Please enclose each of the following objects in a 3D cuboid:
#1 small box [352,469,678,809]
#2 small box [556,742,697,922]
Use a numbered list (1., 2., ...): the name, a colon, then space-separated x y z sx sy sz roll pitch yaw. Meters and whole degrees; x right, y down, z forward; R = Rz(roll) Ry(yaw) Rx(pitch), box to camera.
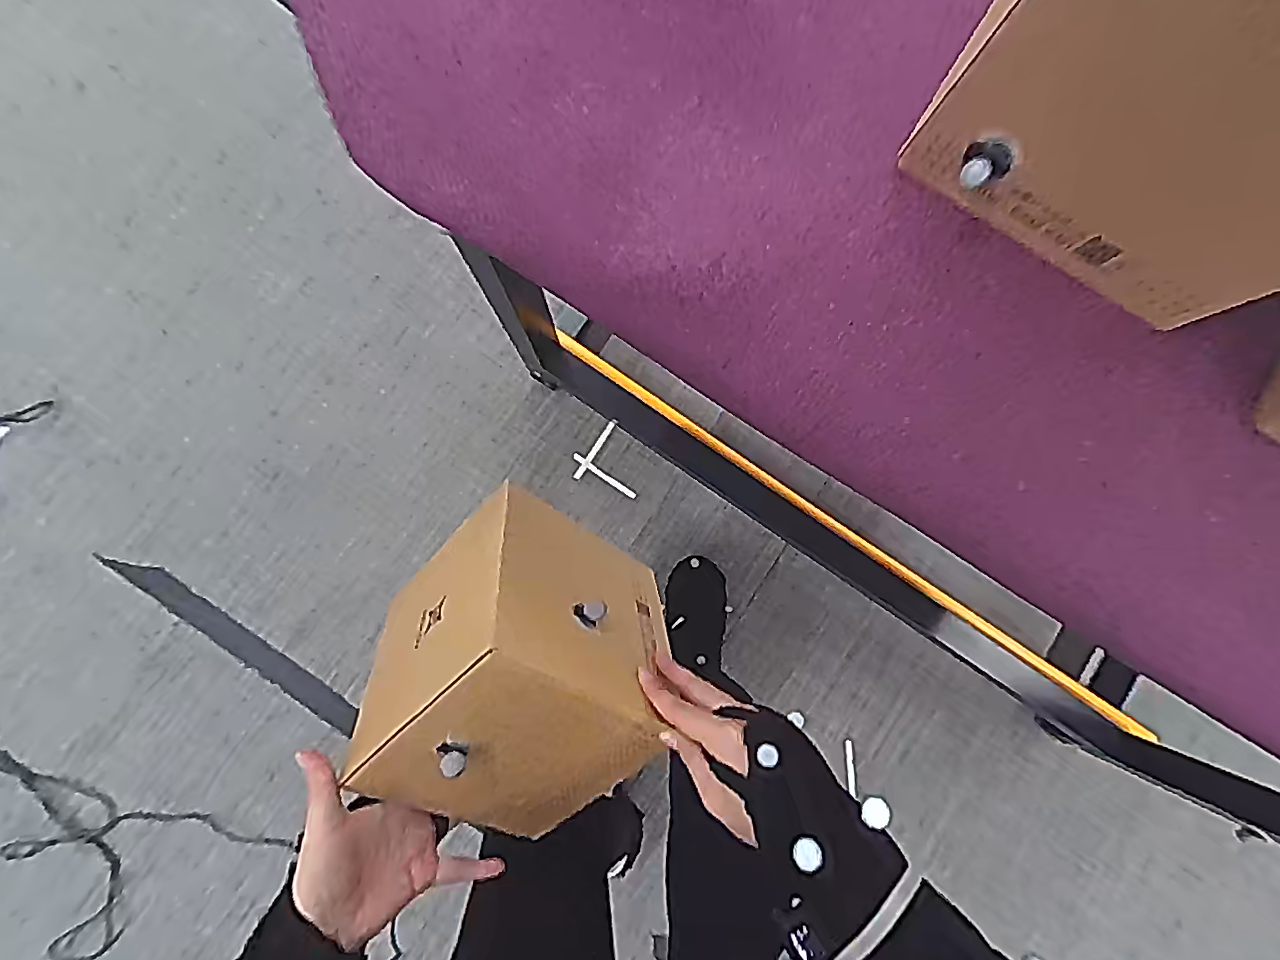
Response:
1. small box: -0.086 0.131 0.433 0.176 0.168 0.179 35 113 -29
2. small box: -0.024 0.538 0.844 0.179 0.176 0.168 -15 80 -5
